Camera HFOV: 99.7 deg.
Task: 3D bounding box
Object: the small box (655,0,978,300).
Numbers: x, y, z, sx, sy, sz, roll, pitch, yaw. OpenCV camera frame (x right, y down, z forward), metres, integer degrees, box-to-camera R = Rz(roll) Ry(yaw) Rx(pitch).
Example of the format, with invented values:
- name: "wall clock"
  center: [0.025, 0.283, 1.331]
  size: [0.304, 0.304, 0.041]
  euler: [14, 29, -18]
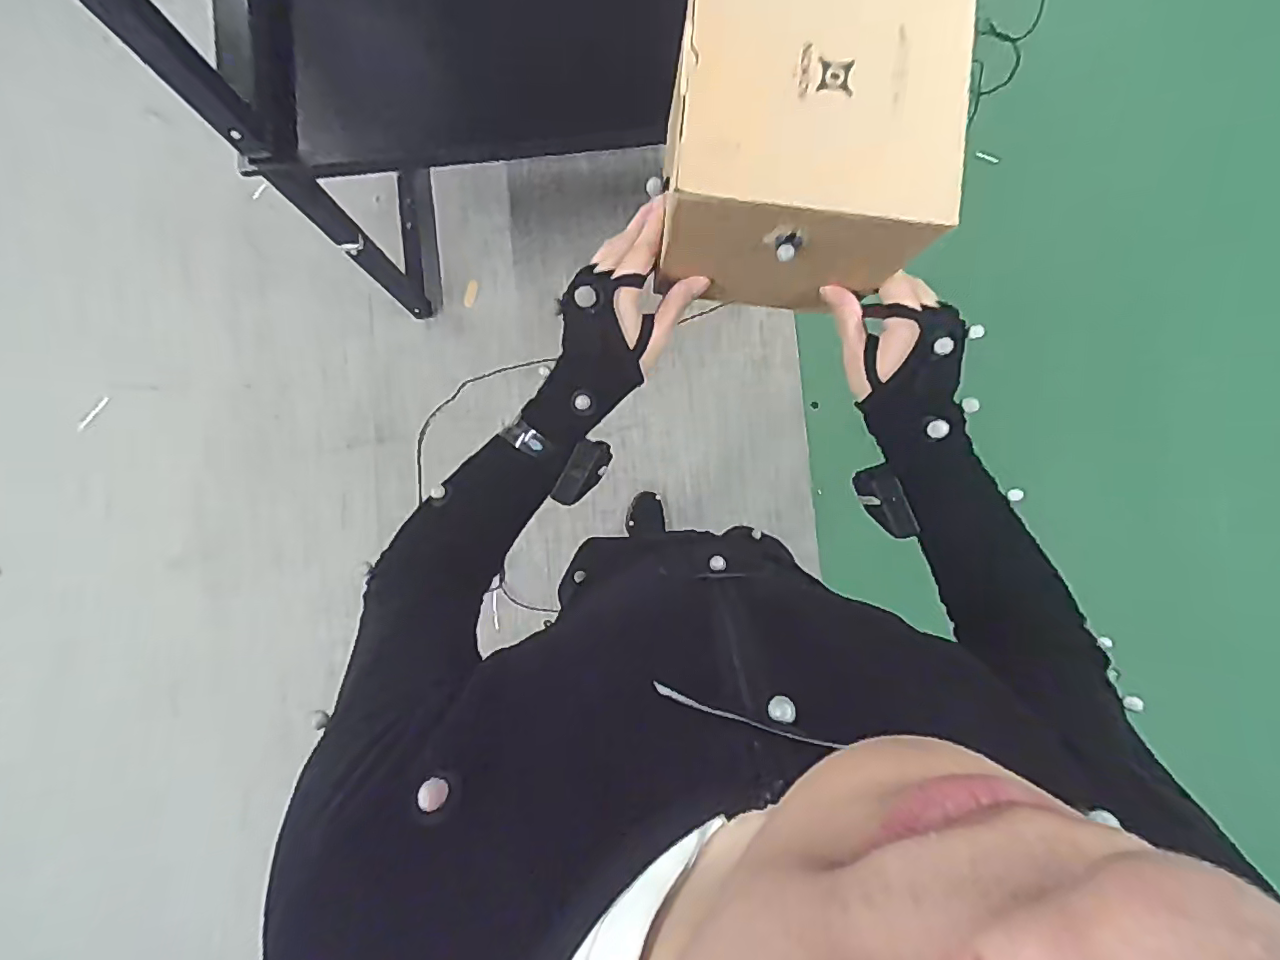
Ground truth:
- name: "small box"
  center: [0.108, -0.246, 0.399]
  size: [0.179, 0.176, 0.168]
  euler: [6, 90, -2]
